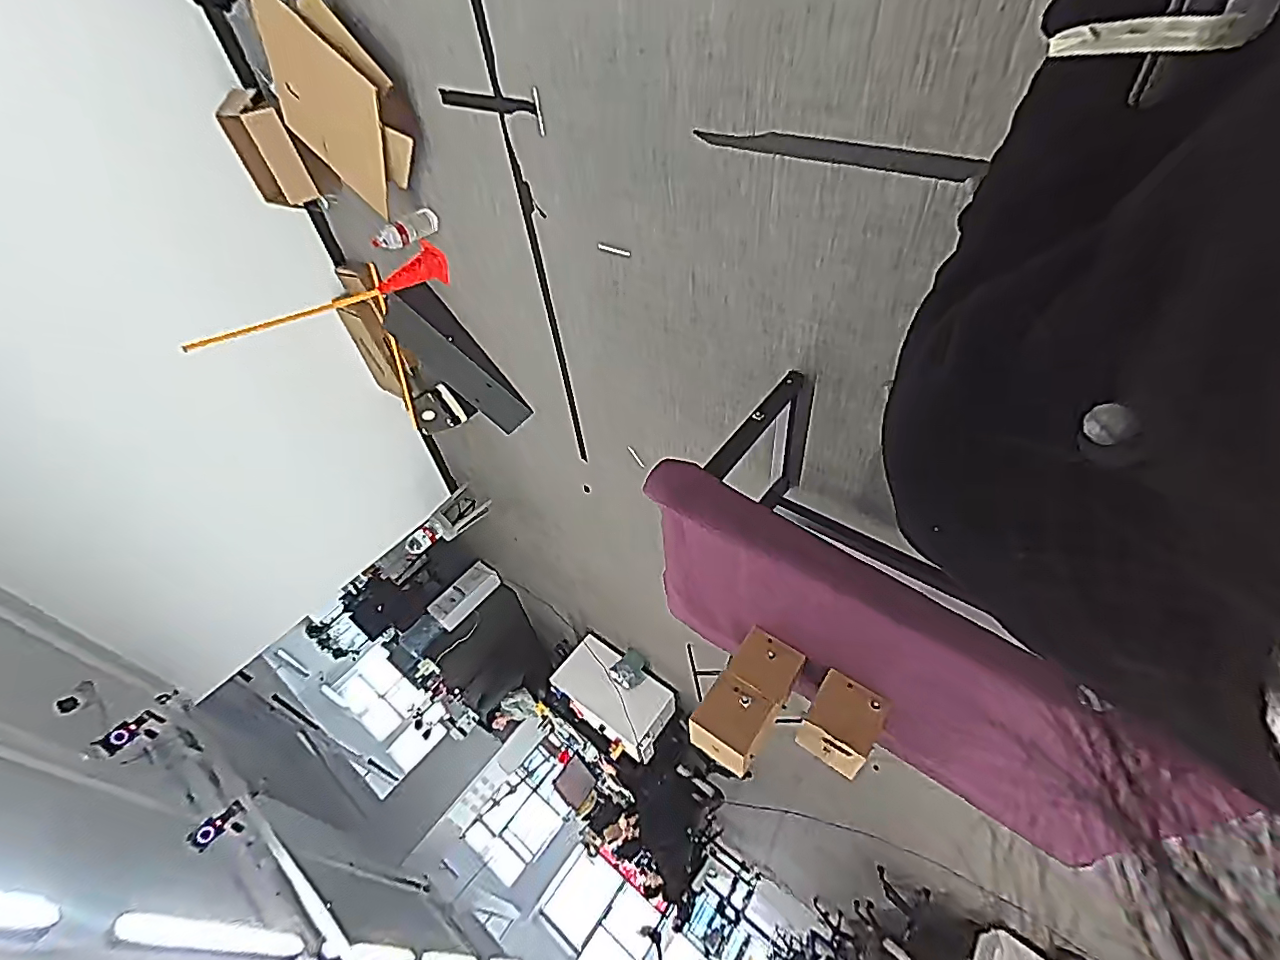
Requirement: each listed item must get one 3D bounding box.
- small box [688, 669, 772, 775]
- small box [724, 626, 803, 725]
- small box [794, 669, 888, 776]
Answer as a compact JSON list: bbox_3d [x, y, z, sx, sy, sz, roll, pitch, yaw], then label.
[{"bbox_3d":[0.247,0.655,1.472,0.168,0.176,0.179,25,143,29],"label":"small box"},{"bbox_3d":[0.350,0.555,1.548,0.168,0.176,0.179,27,144,27],"label":"small box"},{"bbox_3d":[0.531,0.635,1.428,0.168,0.176,0.179,27,145,28],"label":"small box"}]
